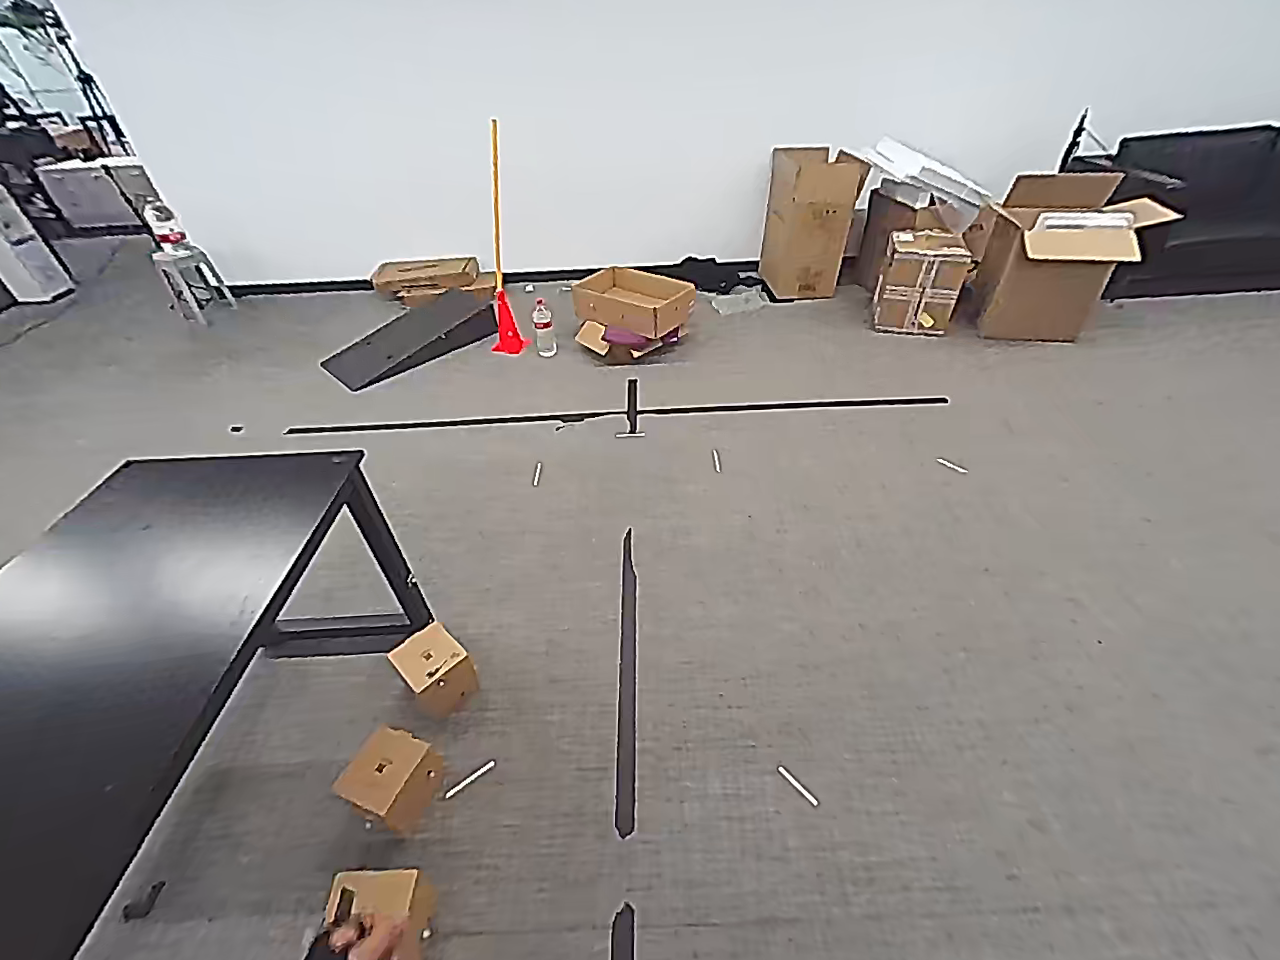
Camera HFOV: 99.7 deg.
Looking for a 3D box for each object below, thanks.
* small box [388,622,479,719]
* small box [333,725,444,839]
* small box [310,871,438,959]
[{"bbox_3d":[-0.604,0.565,1.597,0.179,0.176,0.168,30,50,32],"label":"small box"},{"bbox_3d":[-0.622,0.764,1.369,0.168,0.176,0.179,11,43,17],"label":"small box"},{"bbox_3d":[-0.552,0.950,1.142,0.179,0.176,0.168,-2,41,-1],"label":"small box"}]
